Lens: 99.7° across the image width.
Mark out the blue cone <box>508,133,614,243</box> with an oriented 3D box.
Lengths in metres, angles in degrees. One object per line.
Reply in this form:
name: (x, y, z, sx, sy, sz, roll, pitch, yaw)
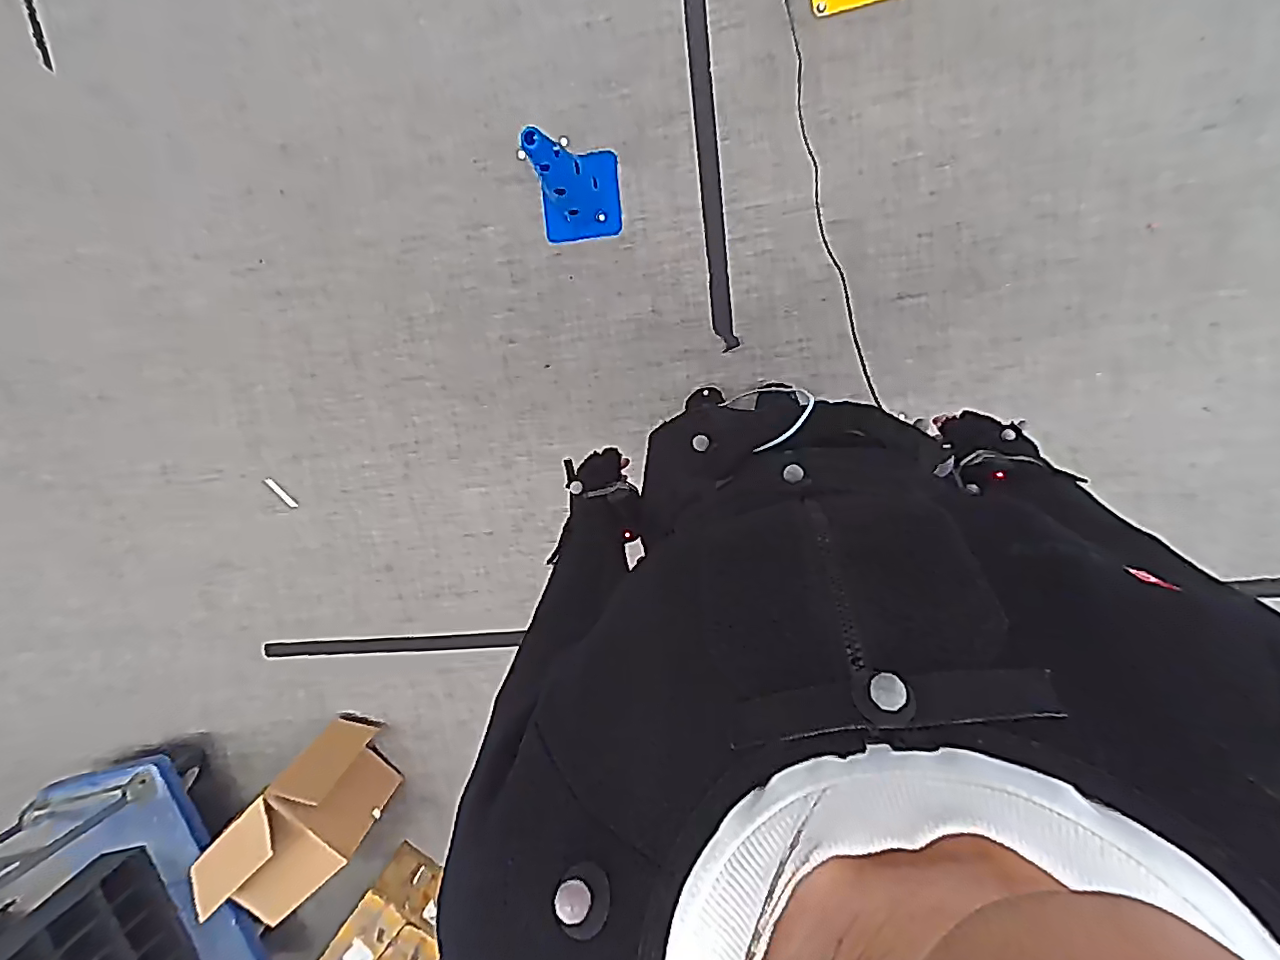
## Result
blue cone: (-0.192, -0.679, 1.208, 0.192, 0.380, 0.193, -1, 100, 11)
